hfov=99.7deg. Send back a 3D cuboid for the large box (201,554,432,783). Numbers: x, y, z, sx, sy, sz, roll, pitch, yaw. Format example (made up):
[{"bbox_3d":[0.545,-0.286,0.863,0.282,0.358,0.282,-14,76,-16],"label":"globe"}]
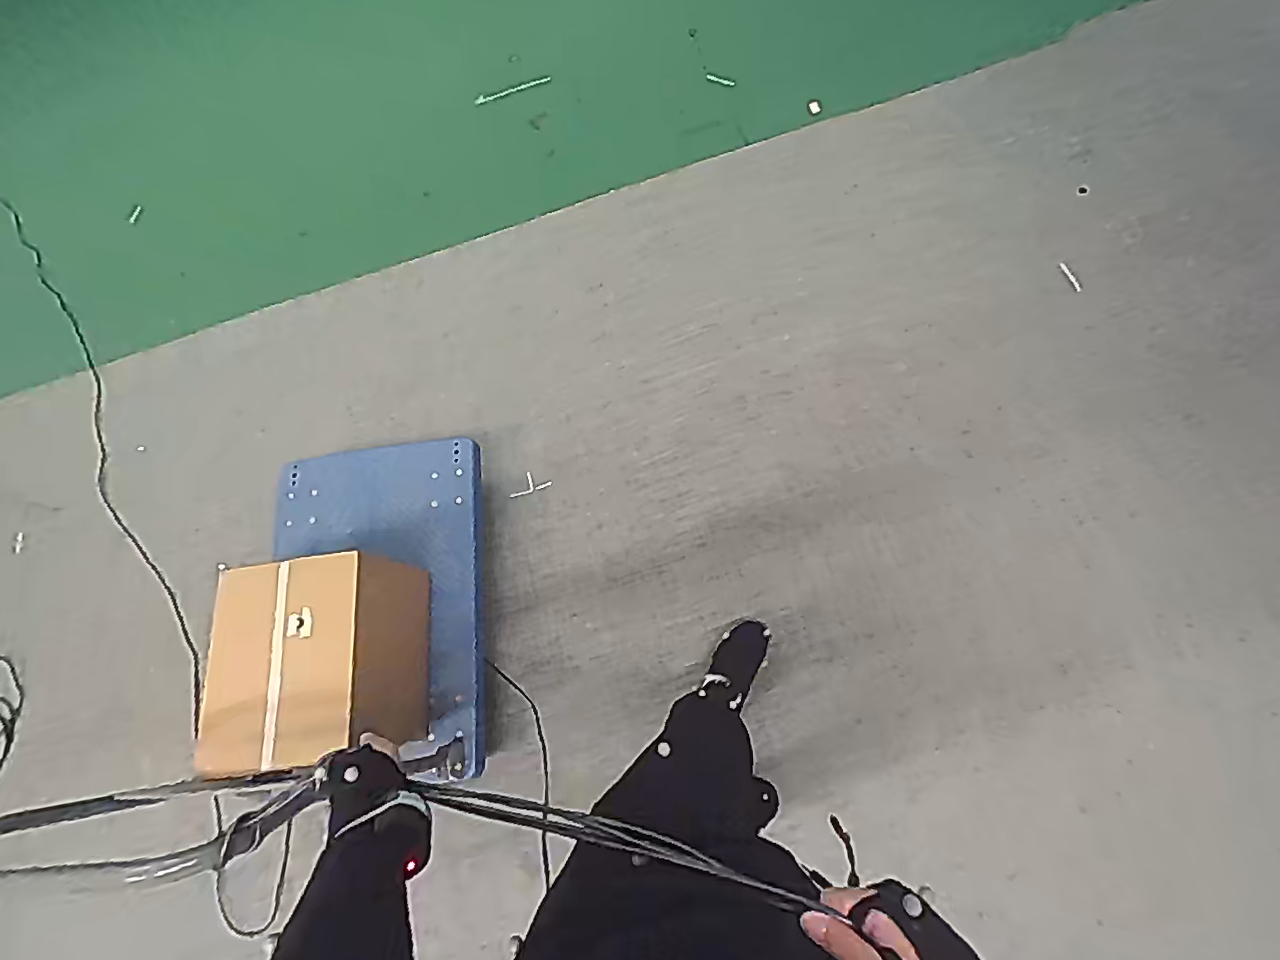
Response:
[{"bbox_3d":[-0.684,0.410,1.208,0.320,0.320,0.408,-9,70,4],"label":"large box"}]
